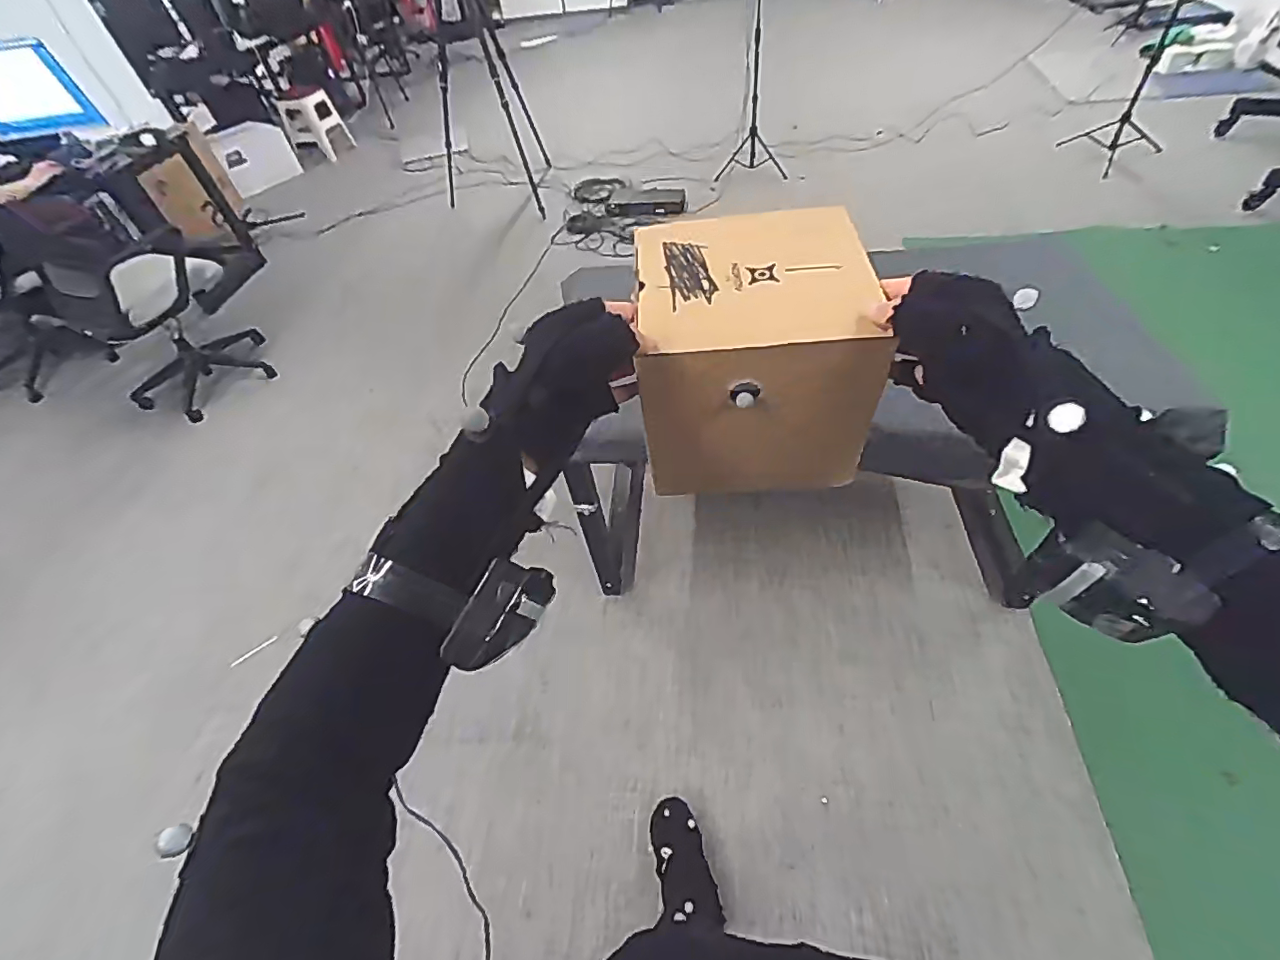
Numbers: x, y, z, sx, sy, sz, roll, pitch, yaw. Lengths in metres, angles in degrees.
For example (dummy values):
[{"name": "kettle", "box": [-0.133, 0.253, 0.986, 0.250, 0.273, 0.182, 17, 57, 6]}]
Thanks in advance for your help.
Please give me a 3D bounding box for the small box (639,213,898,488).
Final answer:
[{"name": "small box", "box": [0.096, -0.104, 0.475, 0.179, 0.176, 0.168, -3, 53, 5]}]
